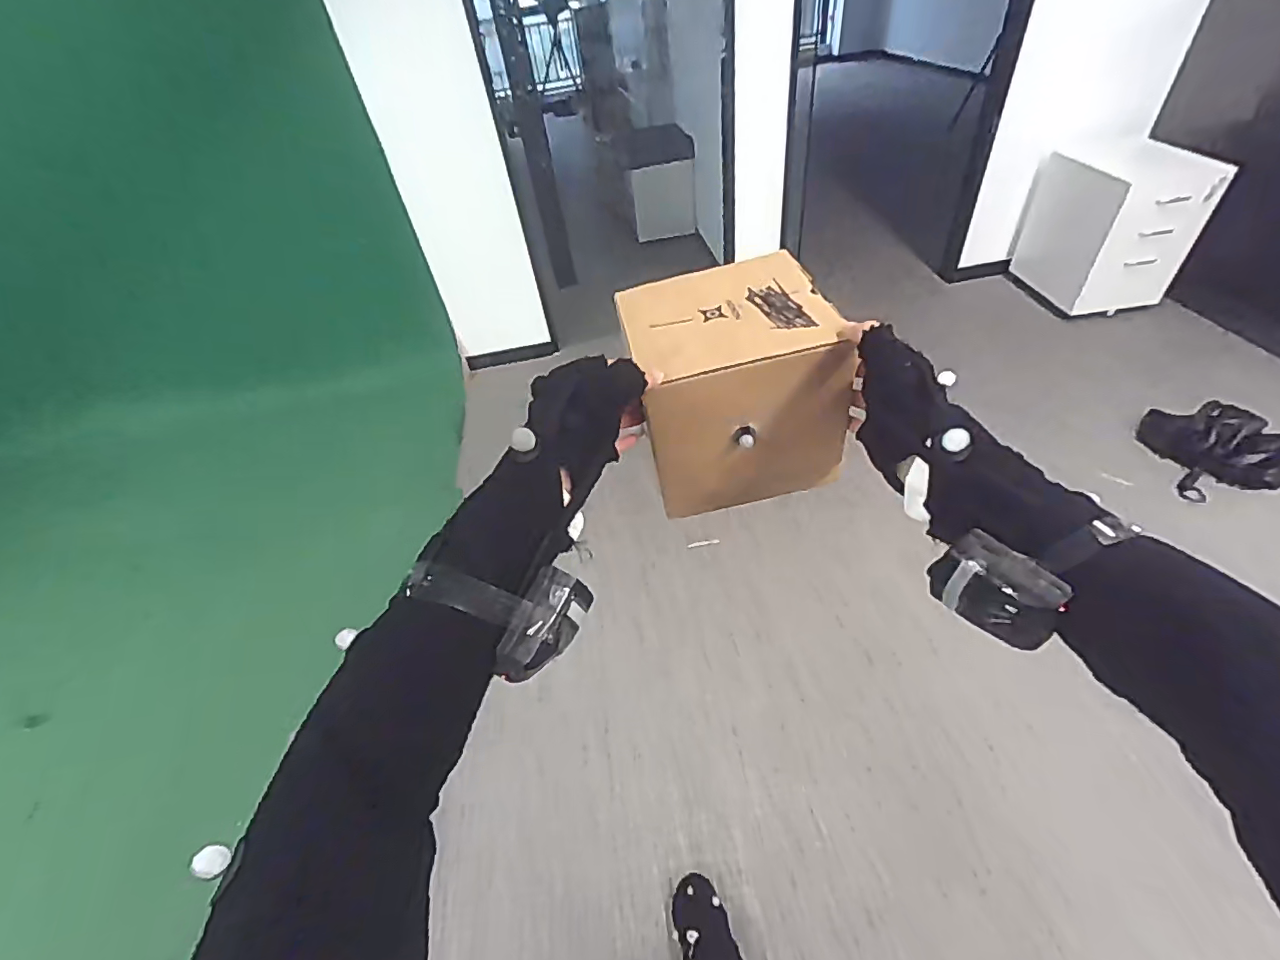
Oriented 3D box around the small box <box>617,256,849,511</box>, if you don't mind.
[{"bbox_3d":[0.085,-0.093,0.544,0.179,0.176,0.168,-14,45,1],"label":"small box"}]
